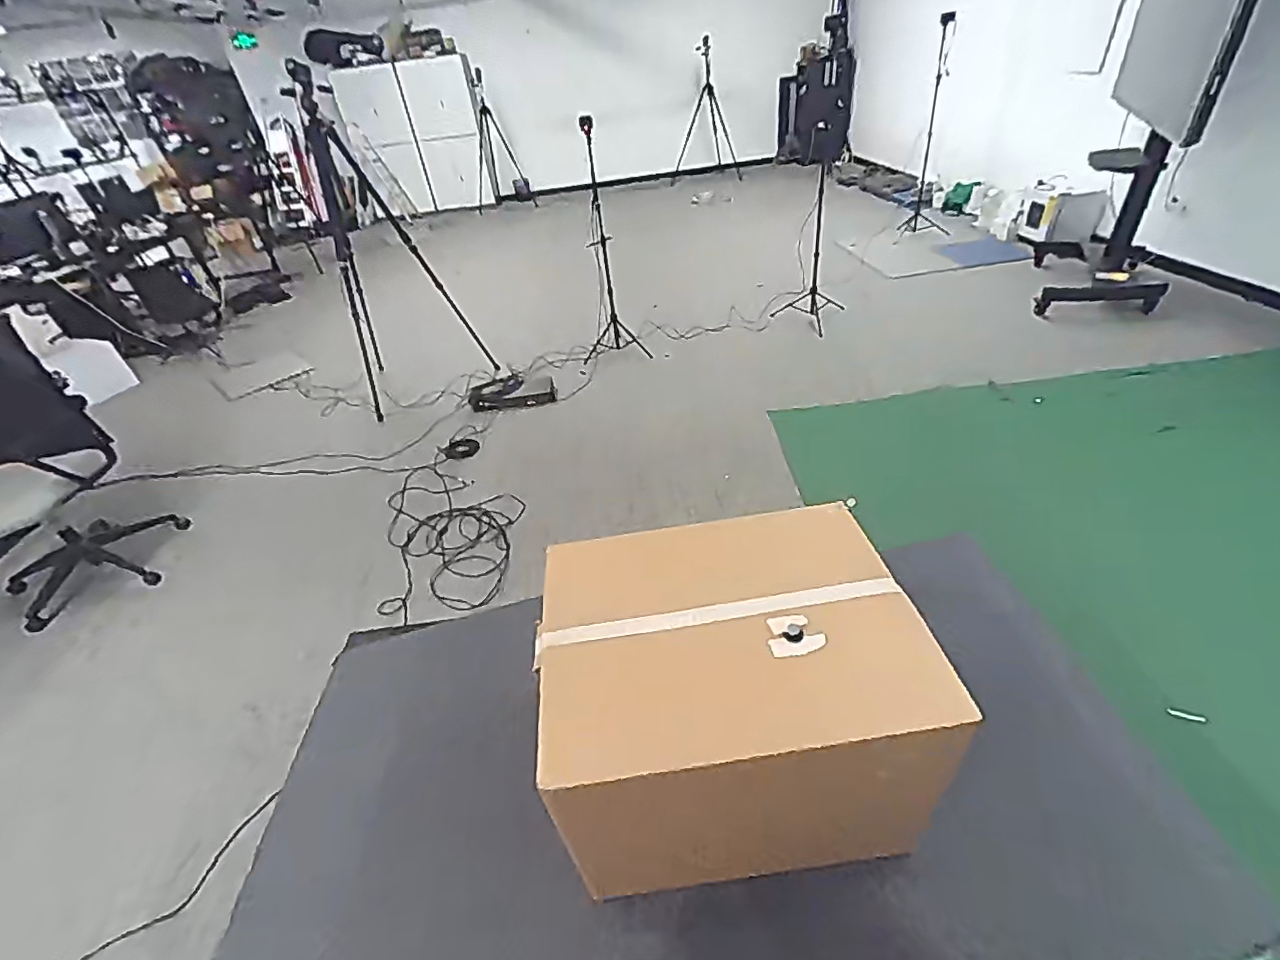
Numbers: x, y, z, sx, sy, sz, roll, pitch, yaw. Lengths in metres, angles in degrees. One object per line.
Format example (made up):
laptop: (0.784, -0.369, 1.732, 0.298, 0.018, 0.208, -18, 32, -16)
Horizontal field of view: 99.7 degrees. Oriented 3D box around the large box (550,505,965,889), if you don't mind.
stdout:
large box: (0.110, 0.273, 0.706, 0.408, 0.320, 0.320, -9, 38, -1)
